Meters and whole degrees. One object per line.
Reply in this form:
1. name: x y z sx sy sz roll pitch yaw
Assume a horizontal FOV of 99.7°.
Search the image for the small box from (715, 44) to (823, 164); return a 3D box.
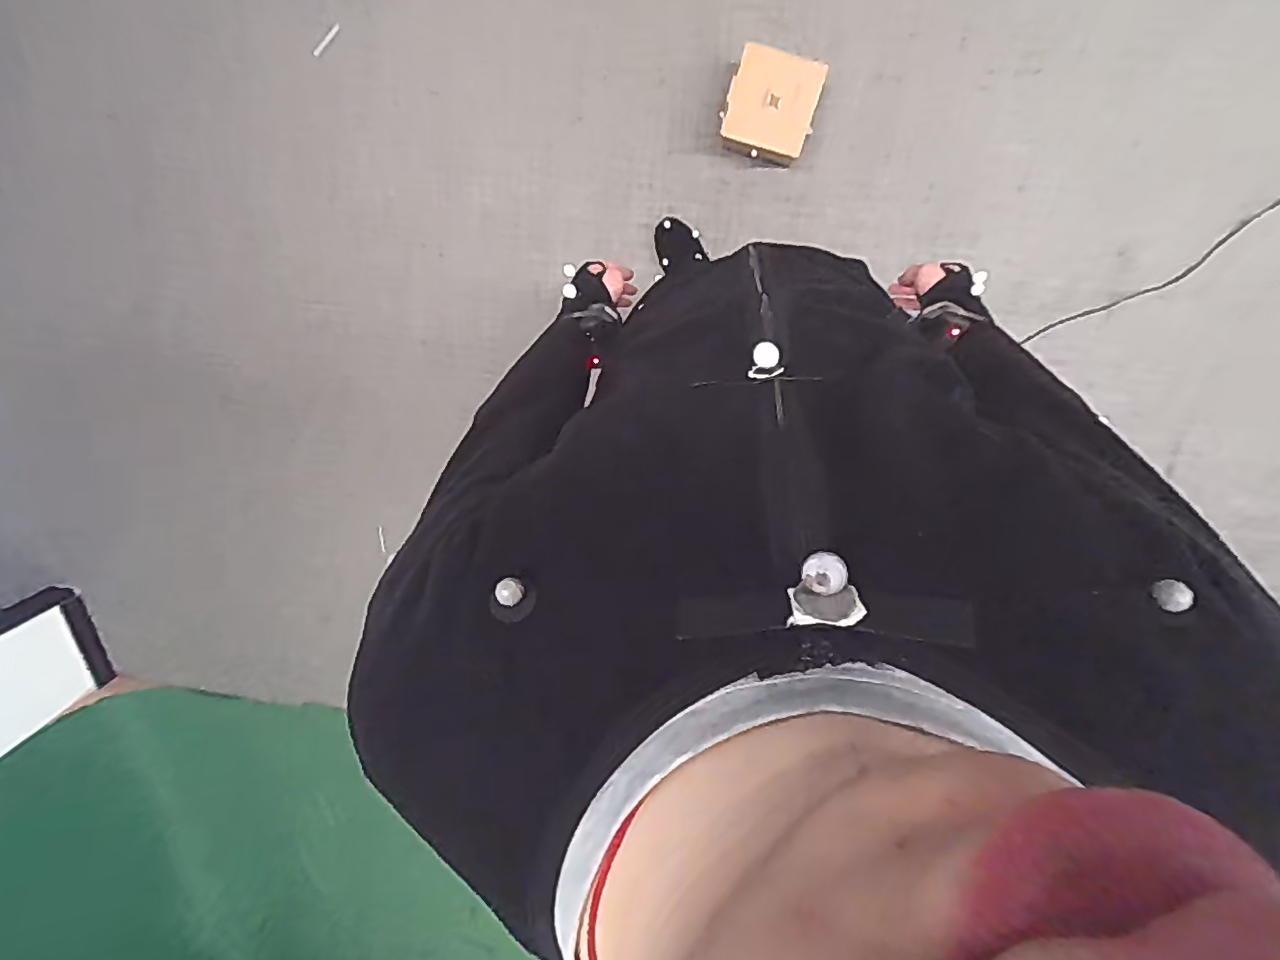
1. small box: 0.273 -0.809 1.182 0.179 0.176 0.168 17 117 0
